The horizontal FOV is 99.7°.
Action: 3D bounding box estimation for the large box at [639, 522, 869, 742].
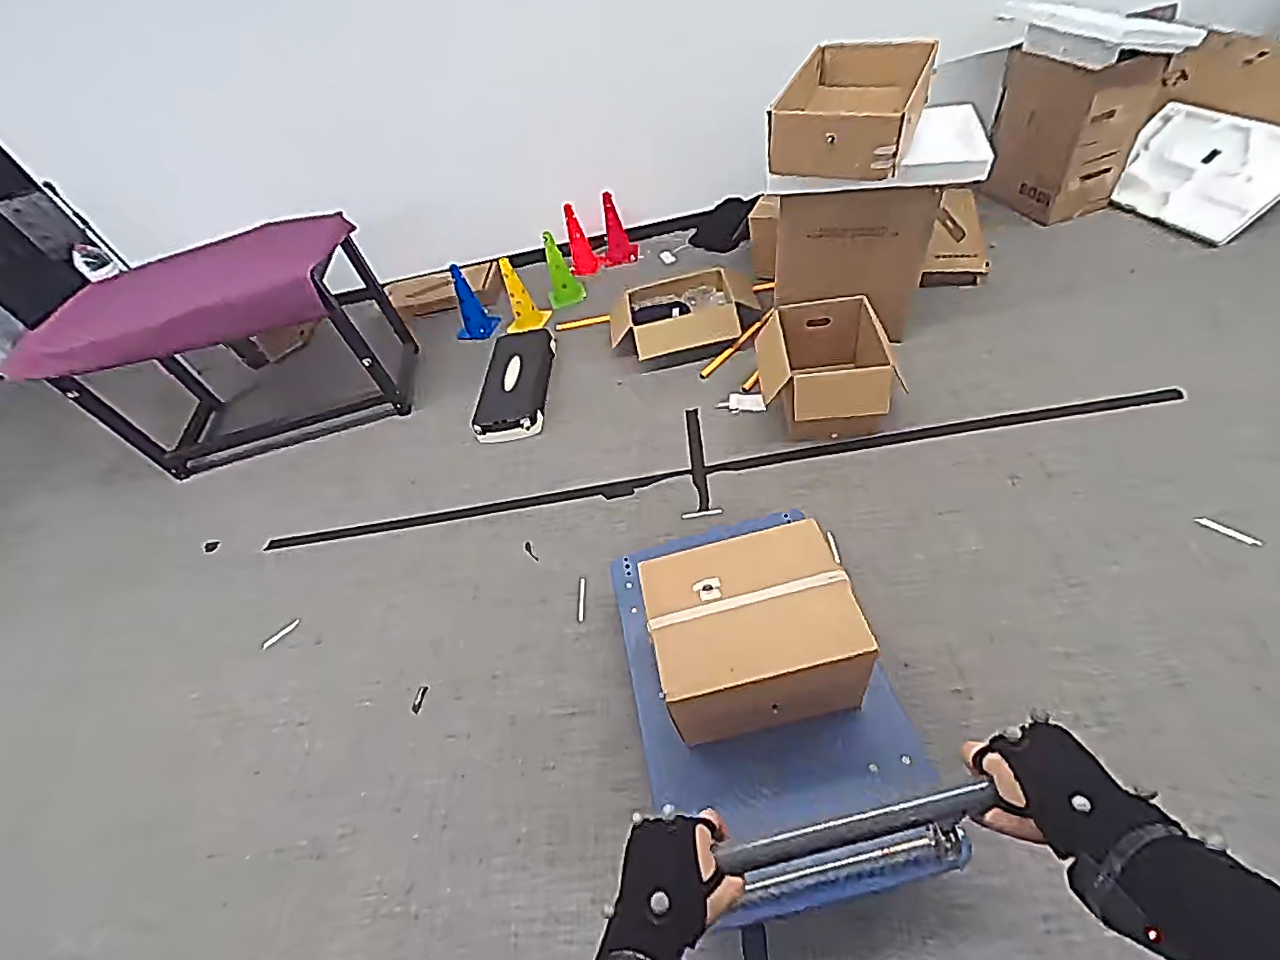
[{"bbox_3d":[0.245,0.350,1.223,0.408,0.320,0.320,-16,47,2],"label":"large box"}]
